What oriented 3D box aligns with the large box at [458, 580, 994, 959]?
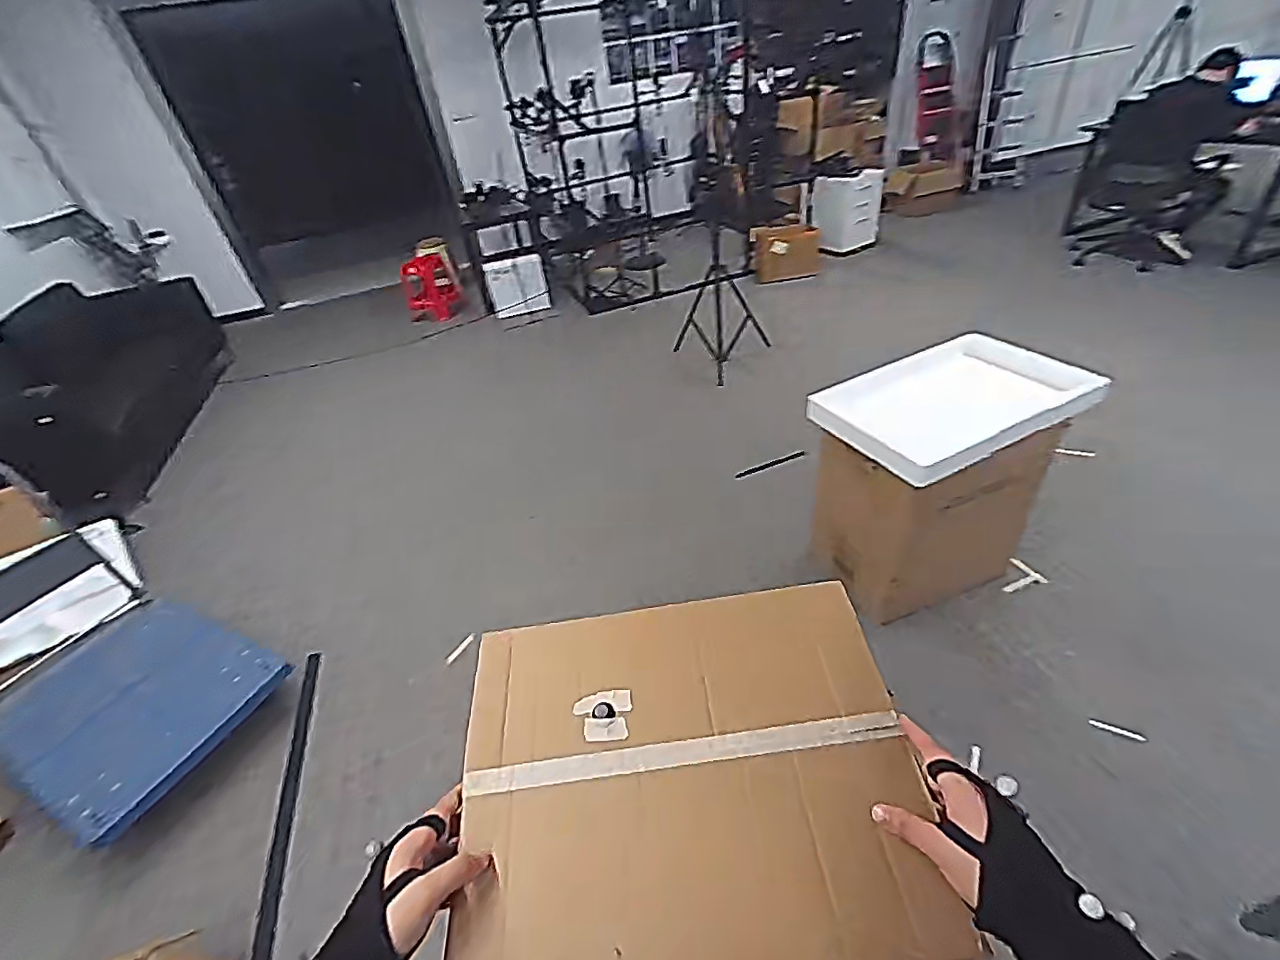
[{"bbox_3d":[0.068,0.353,0.597,0.408,0.320,0.320,-10,45,3],"label":"large box"}]
